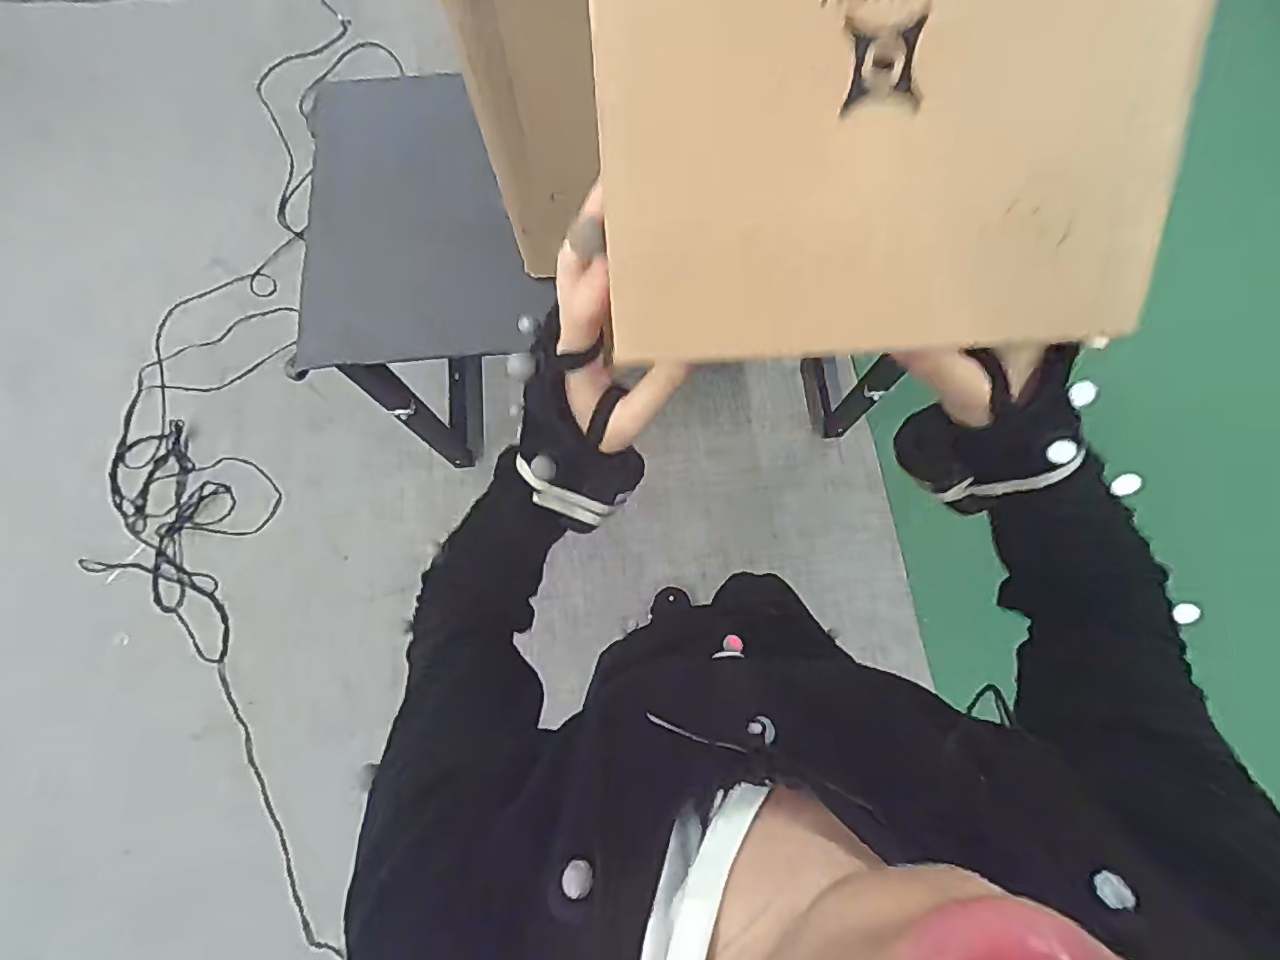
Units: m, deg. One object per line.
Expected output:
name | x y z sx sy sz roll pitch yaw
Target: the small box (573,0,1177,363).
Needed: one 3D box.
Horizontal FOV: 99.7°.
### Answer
small box | 0.068 -0.149 0.230 0.168 0.176 0.179 -2 107 4
